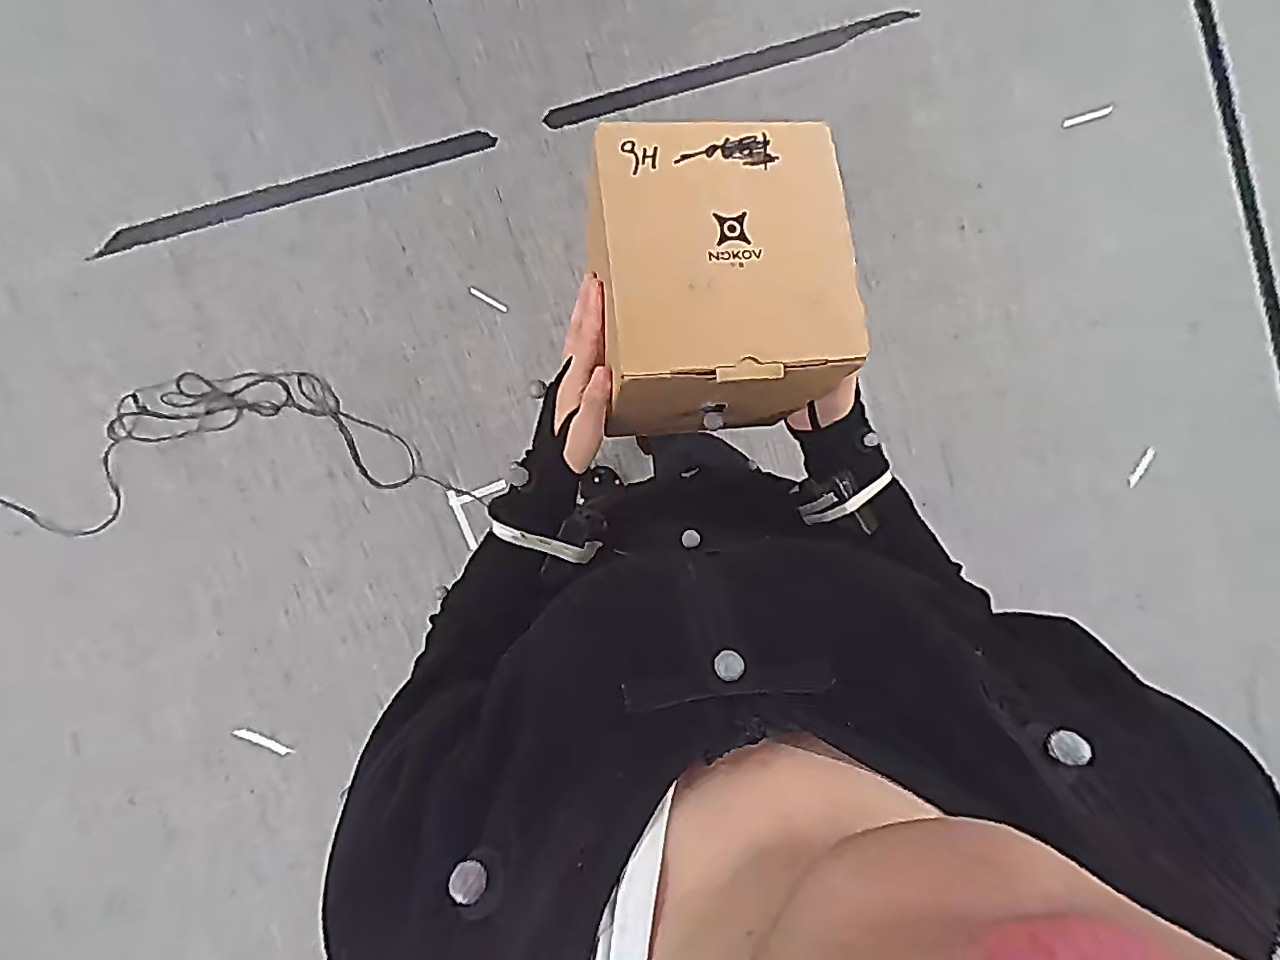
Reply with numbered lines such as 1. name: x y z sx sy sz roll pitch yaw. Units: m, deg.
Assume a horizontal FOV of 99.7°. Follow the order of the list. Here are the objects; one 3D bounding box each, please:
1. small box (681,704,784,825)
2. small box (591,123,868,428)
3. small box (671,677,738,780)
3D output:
1. small box: 0.215 0.674 1.304 0.179 0.176 0.168 -21 95 -4
2. small box: 0.051 -0.142 0.429 0.168 0.176 0.179 -5 83 -9
3. small box: 0.194 0.669 1.468 0.179 0.176 0.168 -24 95 -4
